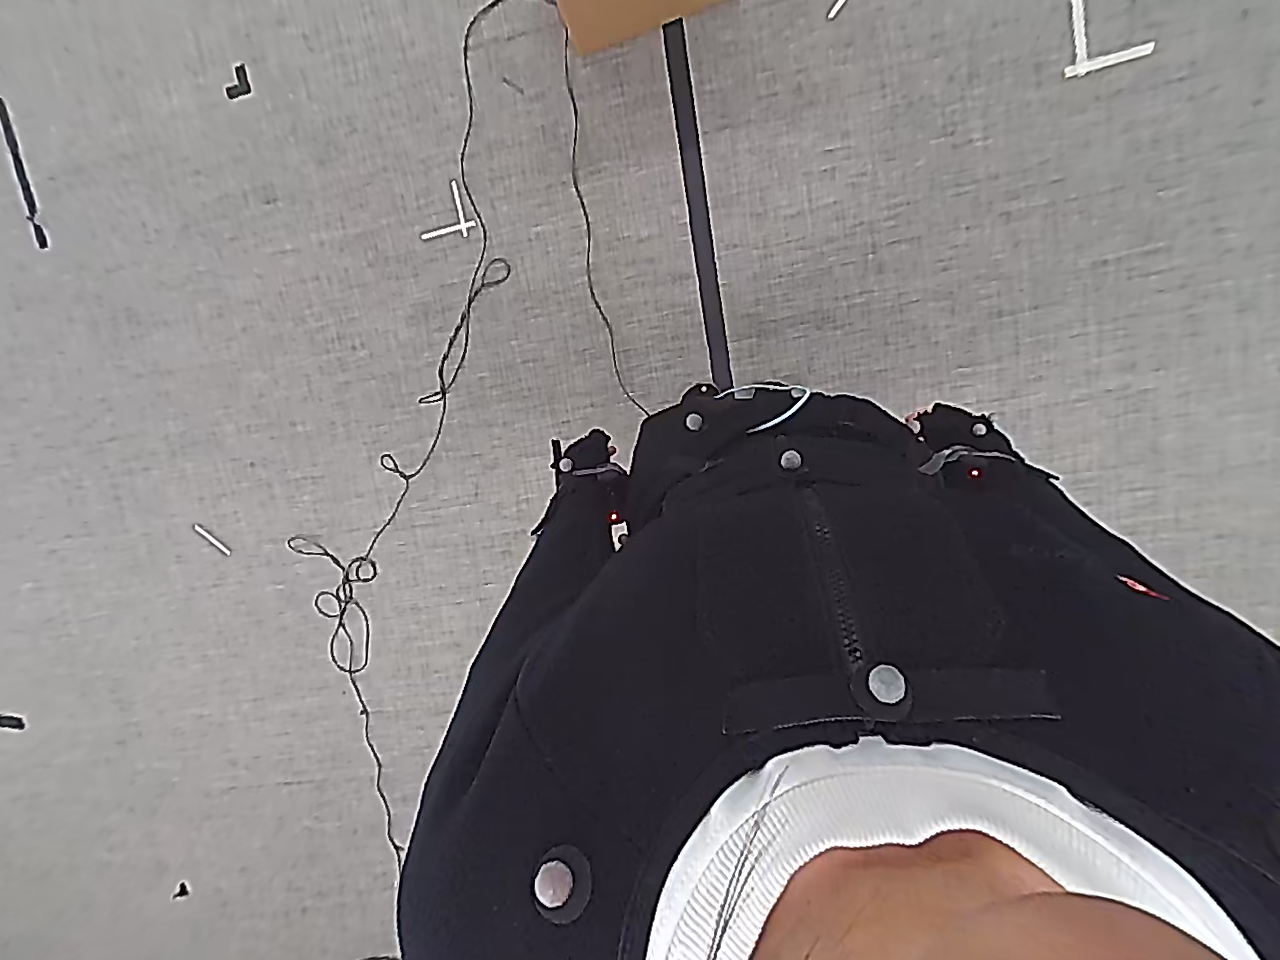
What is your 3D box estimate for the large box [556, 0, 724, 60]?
[{"bbox_3d":[-0.021,-1.178,1.109,0.408,0.320,0.320,-15,99,8],"label":"large box"}]
